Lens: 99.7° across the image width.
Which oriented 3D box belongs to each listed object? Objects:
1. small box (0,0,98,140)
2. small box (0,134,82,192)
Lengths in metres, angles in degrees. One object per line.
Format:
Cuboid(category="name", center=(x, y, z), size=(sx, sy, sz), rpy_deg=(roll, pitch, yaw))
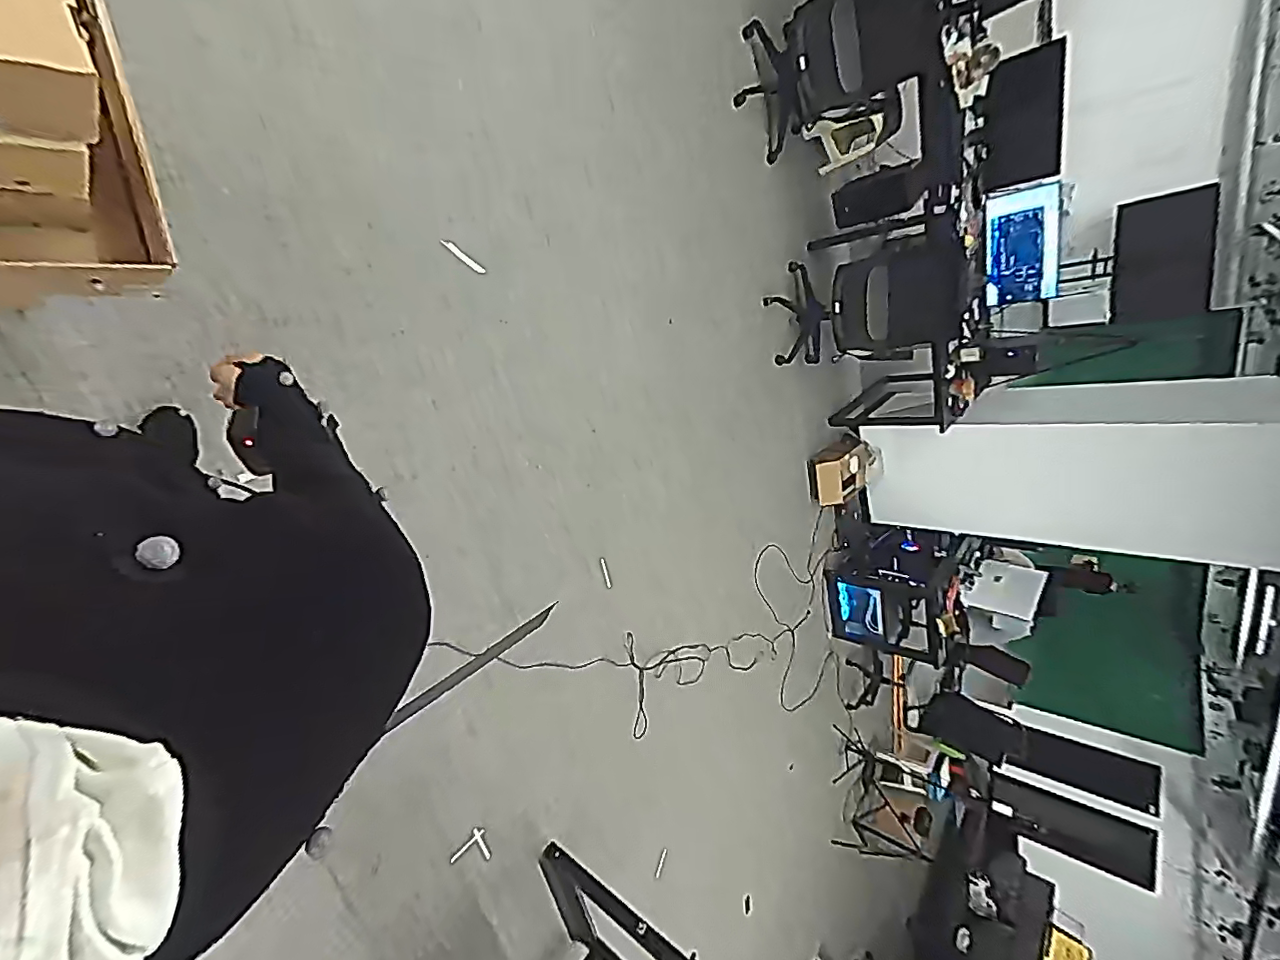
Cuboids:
Cuboid(category="small box", center=(-0.662, -0.447, 0.508), size=(0.179, 0.176, 0.168), rpy_deg=(-24, 109, -43))
Cuboid(category="small box", center=(-0.782, -0.452, 0.621), size=(0.168, 0.176, 0.179), rpy_deg=(-22, 108, -43))
